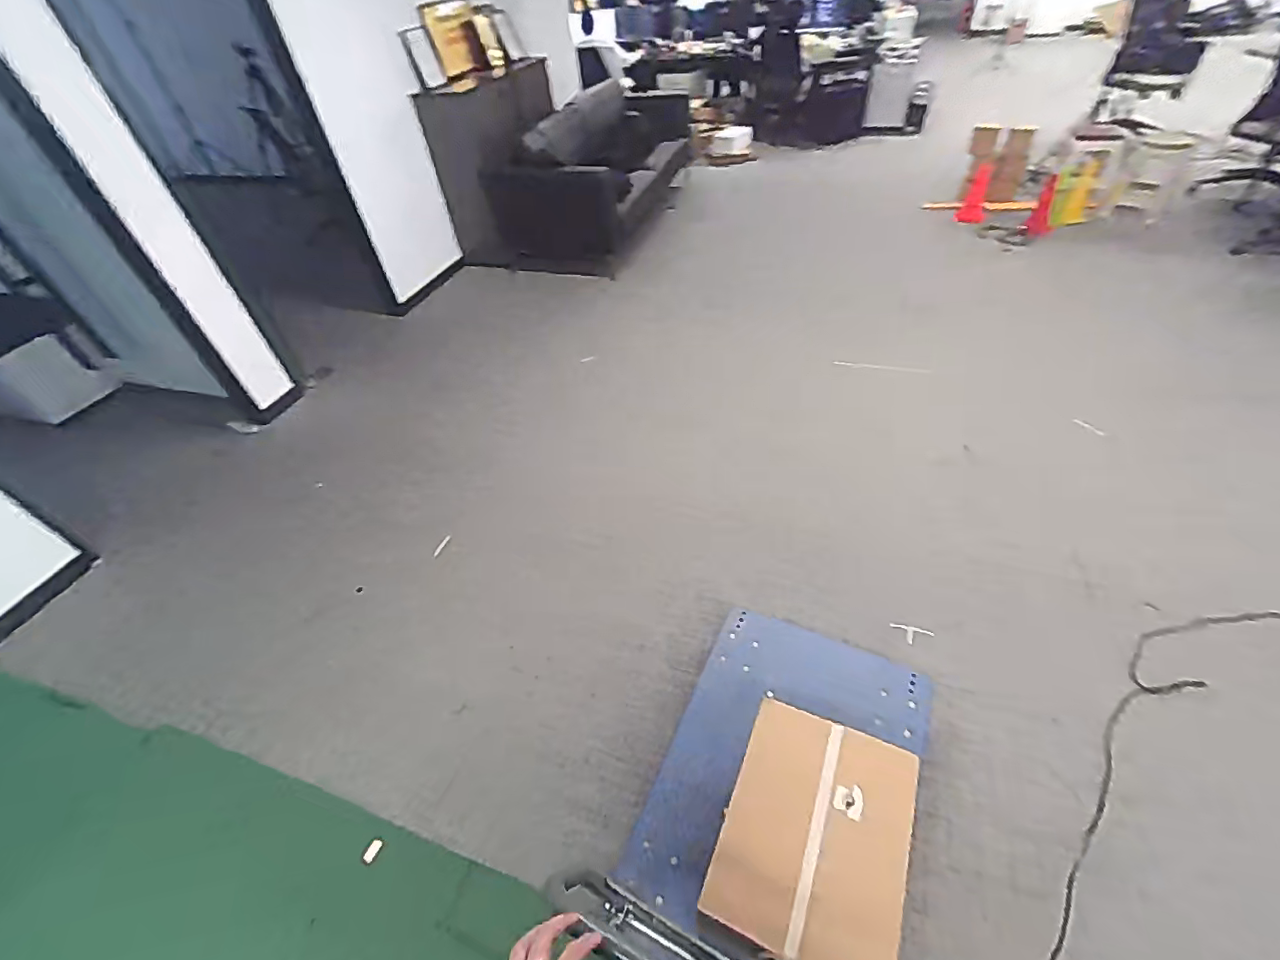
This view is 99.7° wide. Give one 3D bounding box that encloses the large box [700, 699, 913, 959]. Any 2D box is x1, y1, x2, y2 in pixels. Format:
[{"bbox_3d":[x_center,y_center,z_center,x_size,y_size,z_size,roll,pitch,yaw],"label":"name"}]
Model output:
[{"bbox_3d":[0.330,0.744,1.089,0.320,0.320,0.408,16,48,21],"label":"large box"}]
